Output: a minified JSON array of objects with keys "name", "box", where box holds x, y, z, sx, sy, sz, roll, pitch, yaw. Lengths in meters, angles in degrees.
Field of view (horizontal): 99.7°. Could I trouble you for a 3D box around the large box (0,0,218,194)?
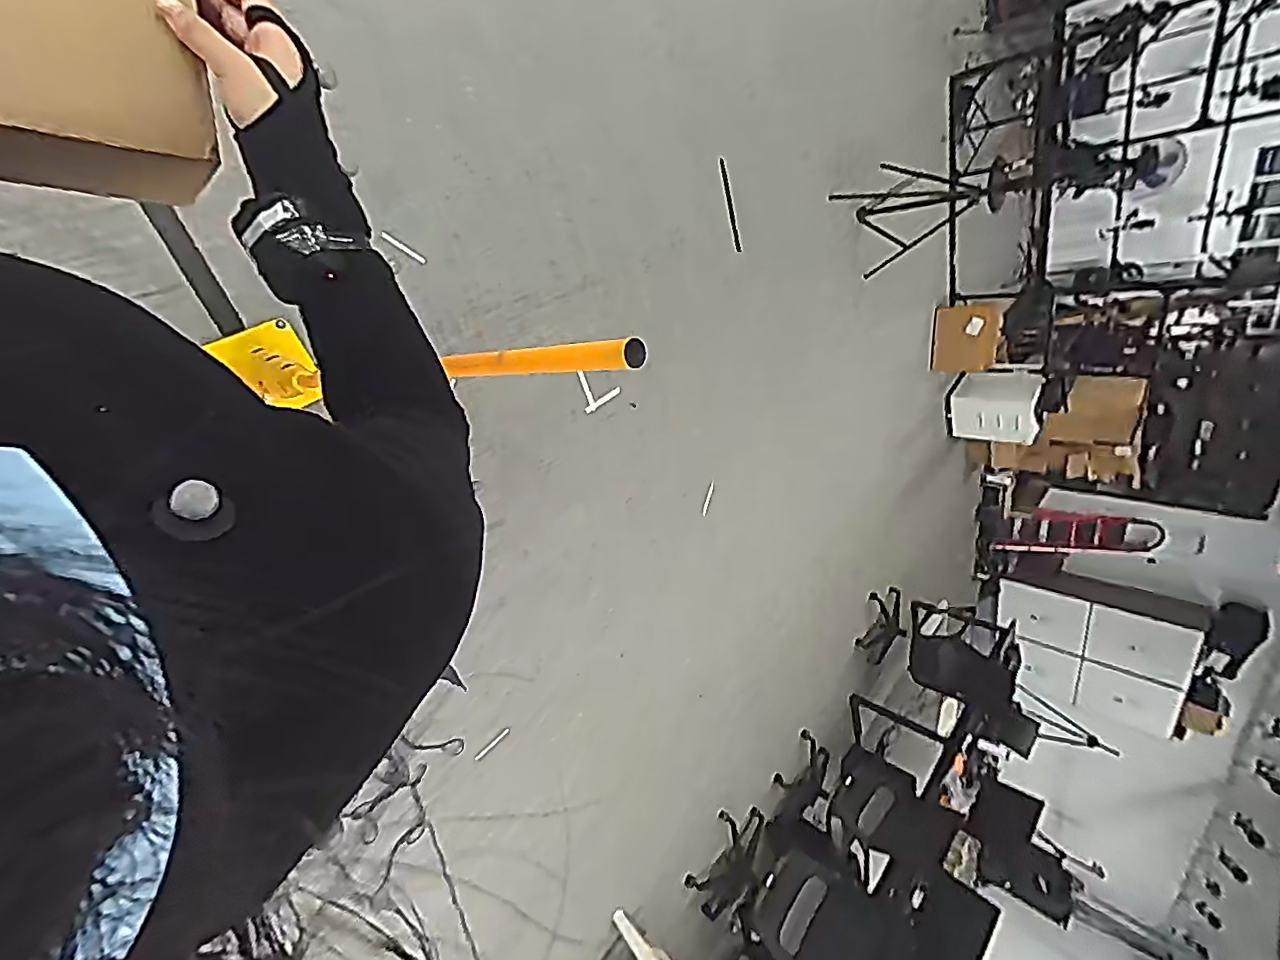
[{"name":"large box","box":[-0.556,-0.400,0.347,0.408,0.320,0.320,-10,111,-40]}]
